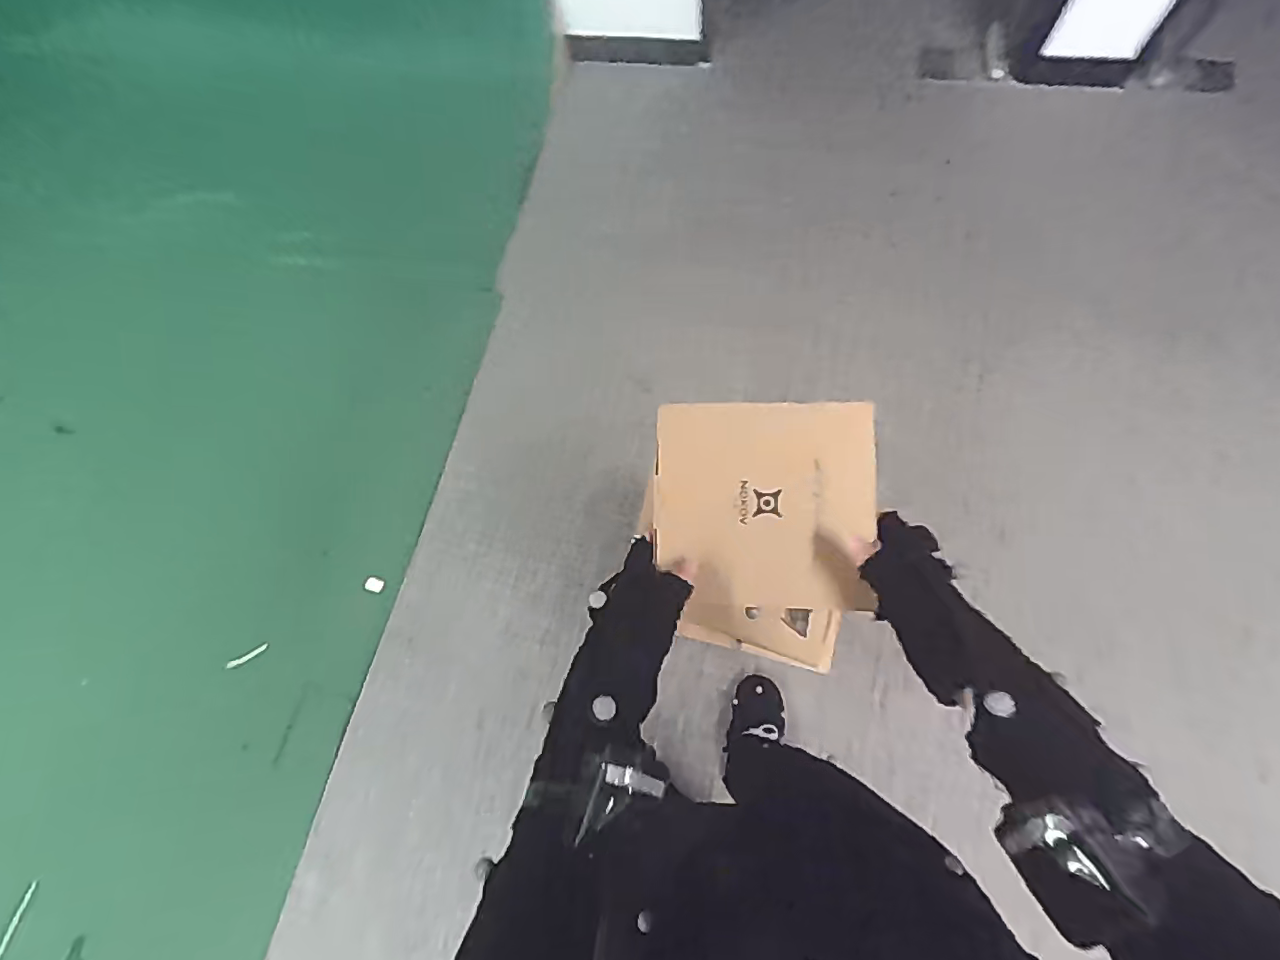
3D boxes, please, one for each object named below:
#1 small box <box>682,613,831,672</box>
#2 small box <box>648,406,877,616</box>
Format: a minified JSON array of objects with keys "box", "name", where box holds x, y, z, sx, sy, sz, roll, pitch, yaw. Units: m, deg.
[{"box":[0.171,0.155,0.767,0.179,0.176,0.168,18,77,13],"name":"small box"},{"box":[0.104,0.029,0.506,0.179,0.176,0.168,-1,87,6],"name":"small box"}]
